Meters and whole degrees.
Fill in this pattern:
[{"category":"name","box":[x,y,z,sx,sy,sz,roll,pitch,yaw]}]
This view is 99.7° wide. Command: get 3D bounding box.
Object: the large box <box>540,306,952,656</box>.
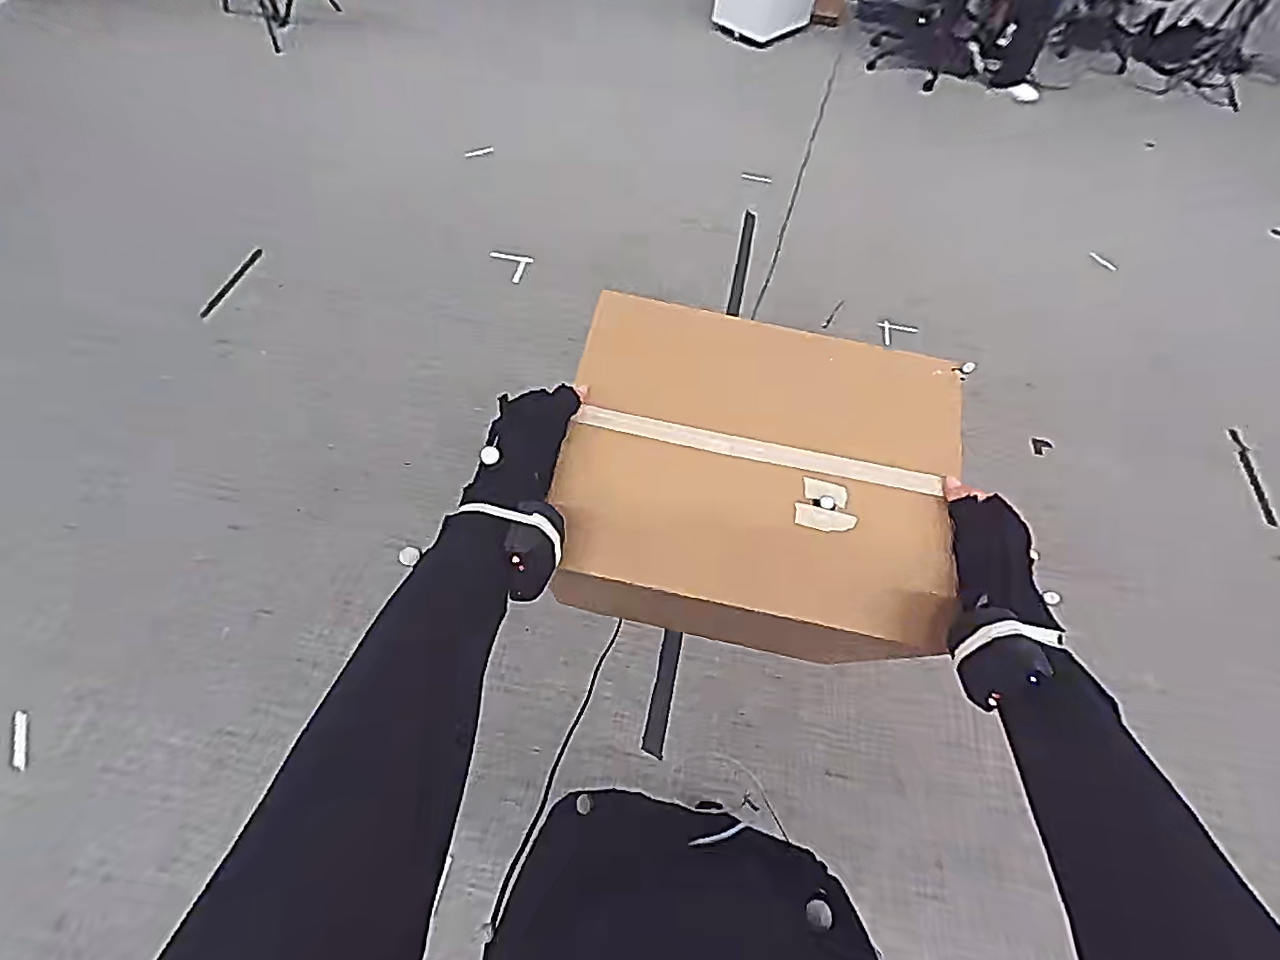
[{"category":"large box","box":[0.116,0.027,0.699,0.408,0.320,0.320,12,70,2]}]
